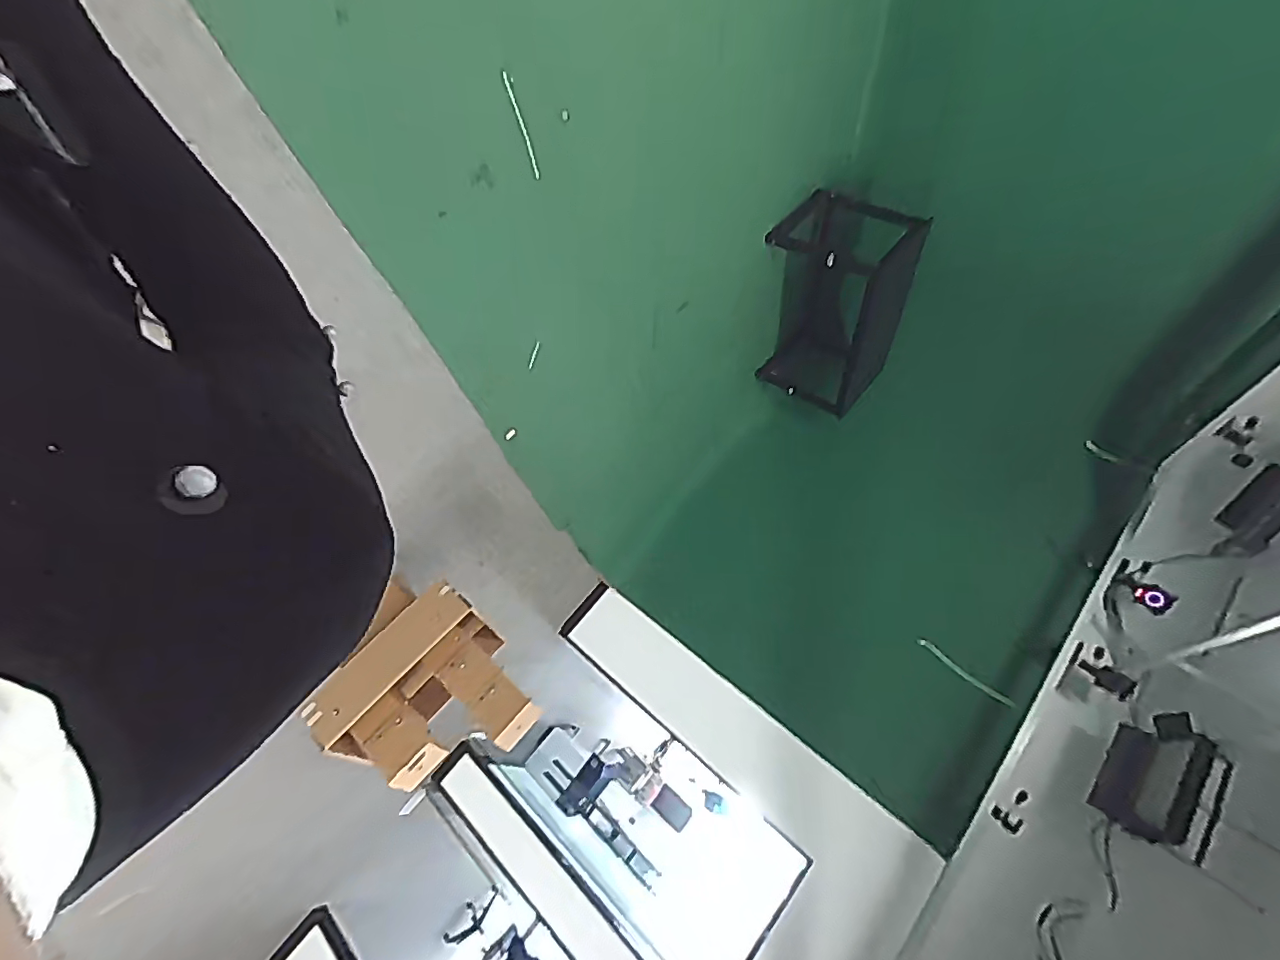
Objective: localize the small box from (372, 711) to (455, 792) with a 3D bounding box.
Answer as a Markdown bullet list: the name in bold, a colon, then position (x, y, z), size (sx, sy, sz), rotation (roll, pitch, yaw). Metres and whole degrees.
- **small box**: position (-0.776, 0.922, 1.846), size (0.168, 0.176, 0.179), rotation (-43, 149, -21)

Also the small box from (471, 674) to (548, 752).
- **small box**: position (-0.452, 0.806, 1.876), size (0.168, 0.176, 0.179), rotation (-44, 150, -22)

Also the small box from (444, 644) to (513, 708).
- **small box**: position (-0.570, 0.724, 1.952), size (0.168, 0.176, 0.179), rotation (-44, 150, -23)

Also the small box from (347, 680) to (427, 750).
- **small box**: position (-0.896, 0.845, 1.928), size (0.168, 0.176, 0.179), rotation (-44, 149, -20)
